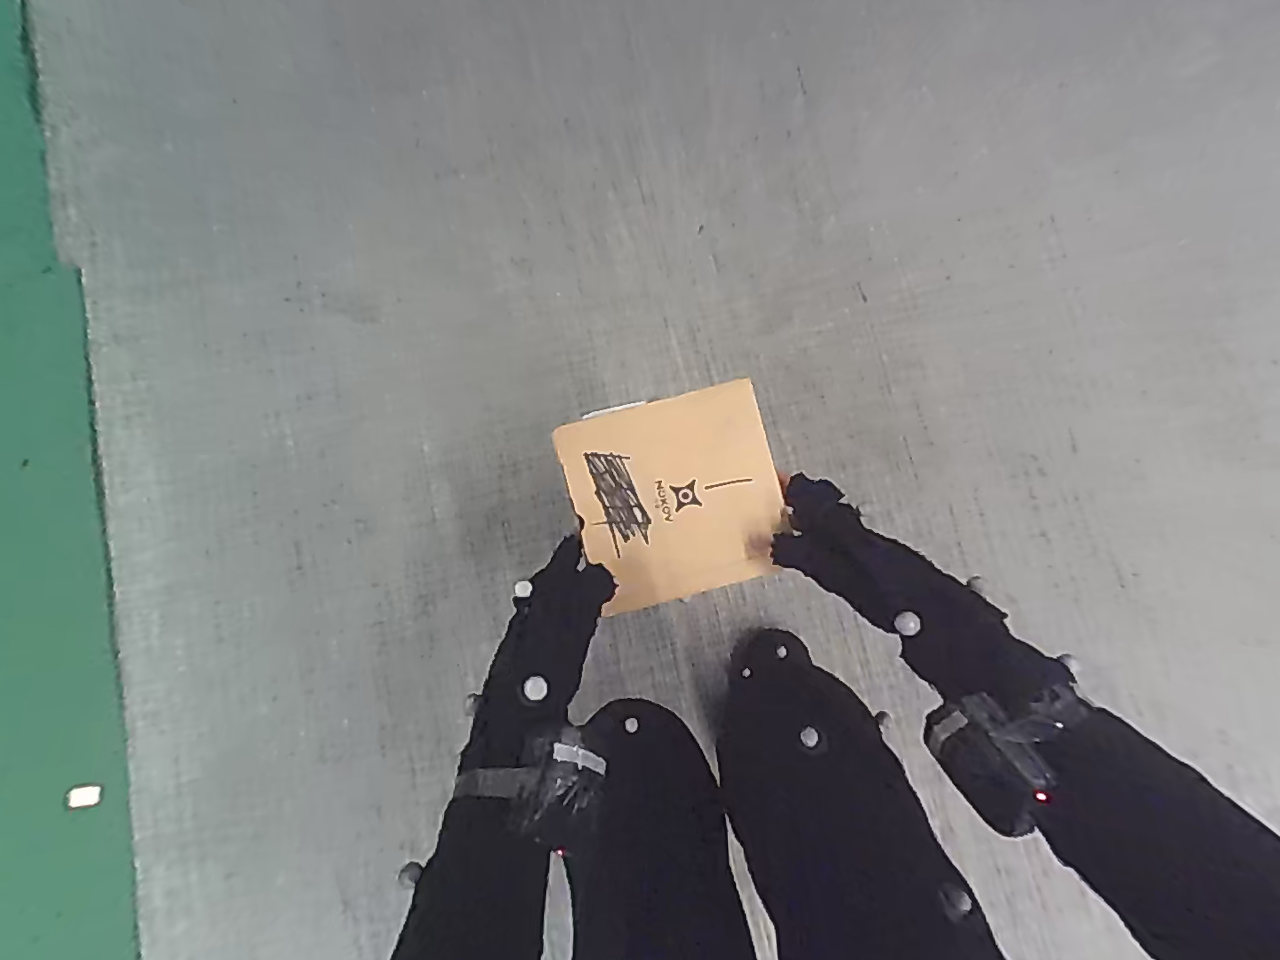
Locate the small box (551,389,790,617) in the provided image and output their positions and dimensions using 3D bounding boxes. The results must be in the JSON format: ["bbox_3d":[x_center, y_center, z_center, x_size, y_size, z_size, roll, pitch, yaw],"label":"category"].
[{"bbox_3d":[0.028,0.024,0.541,0.179,0.176,0.168,-14,87,0],"label":"small box"}]
